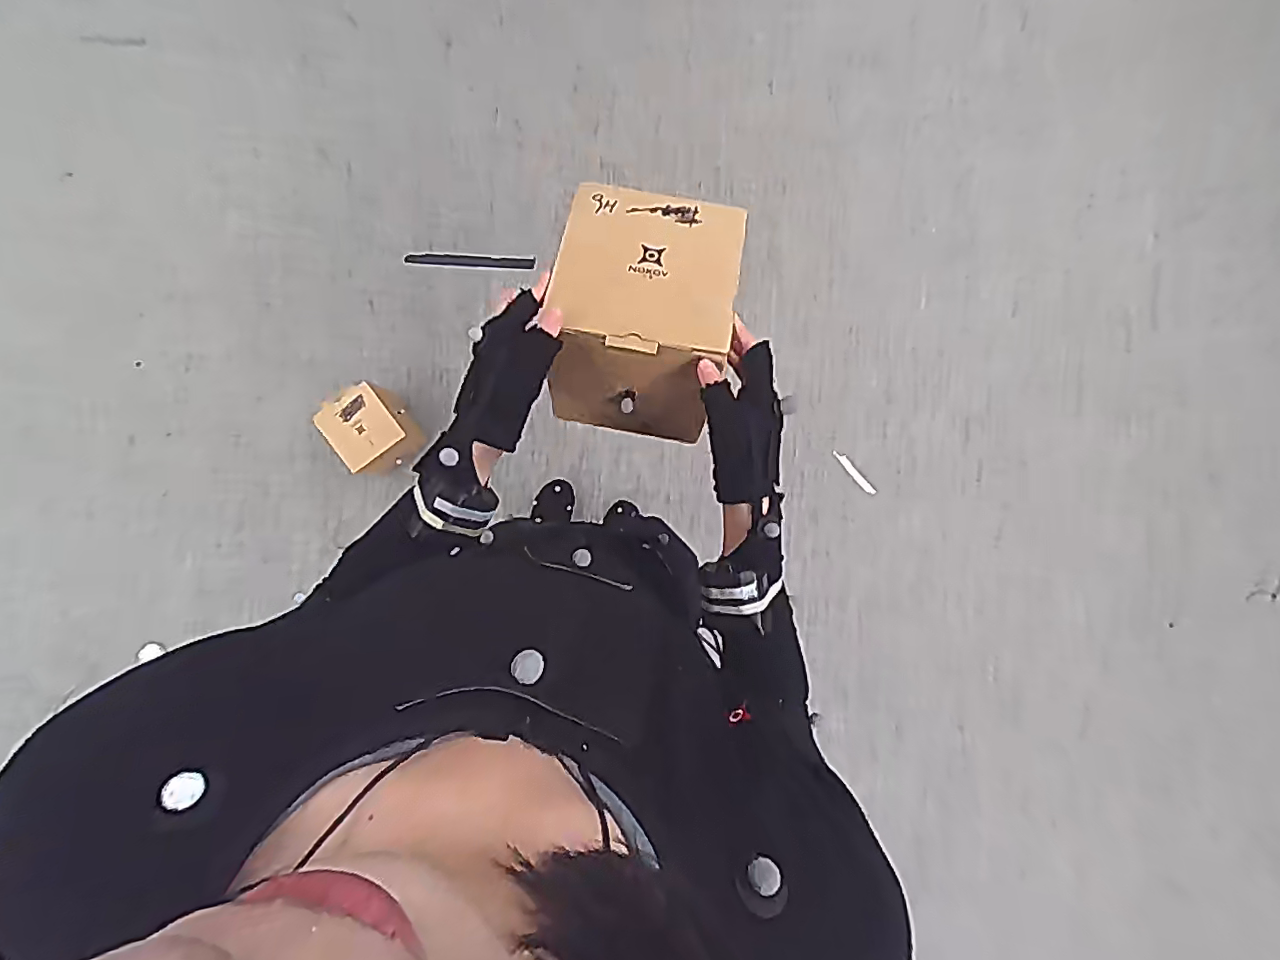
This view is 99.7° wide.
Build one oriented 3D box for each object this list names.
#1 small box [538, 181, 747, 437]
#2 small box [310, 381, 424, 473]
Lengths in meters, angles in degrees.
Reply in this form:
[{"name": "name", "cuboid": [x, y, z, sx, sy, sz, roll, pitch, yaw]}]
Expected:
[{"name": "small box", "cuboid": [0.003, -0.163, 0.556, 0.168, 0.176, 0.179, 10, 68, 0]}, {"name": "small box", "cuboid": [-0.708, -0.130, 1.422, 0.168, 0.176, 0.179, -36, 91, -3]}]
